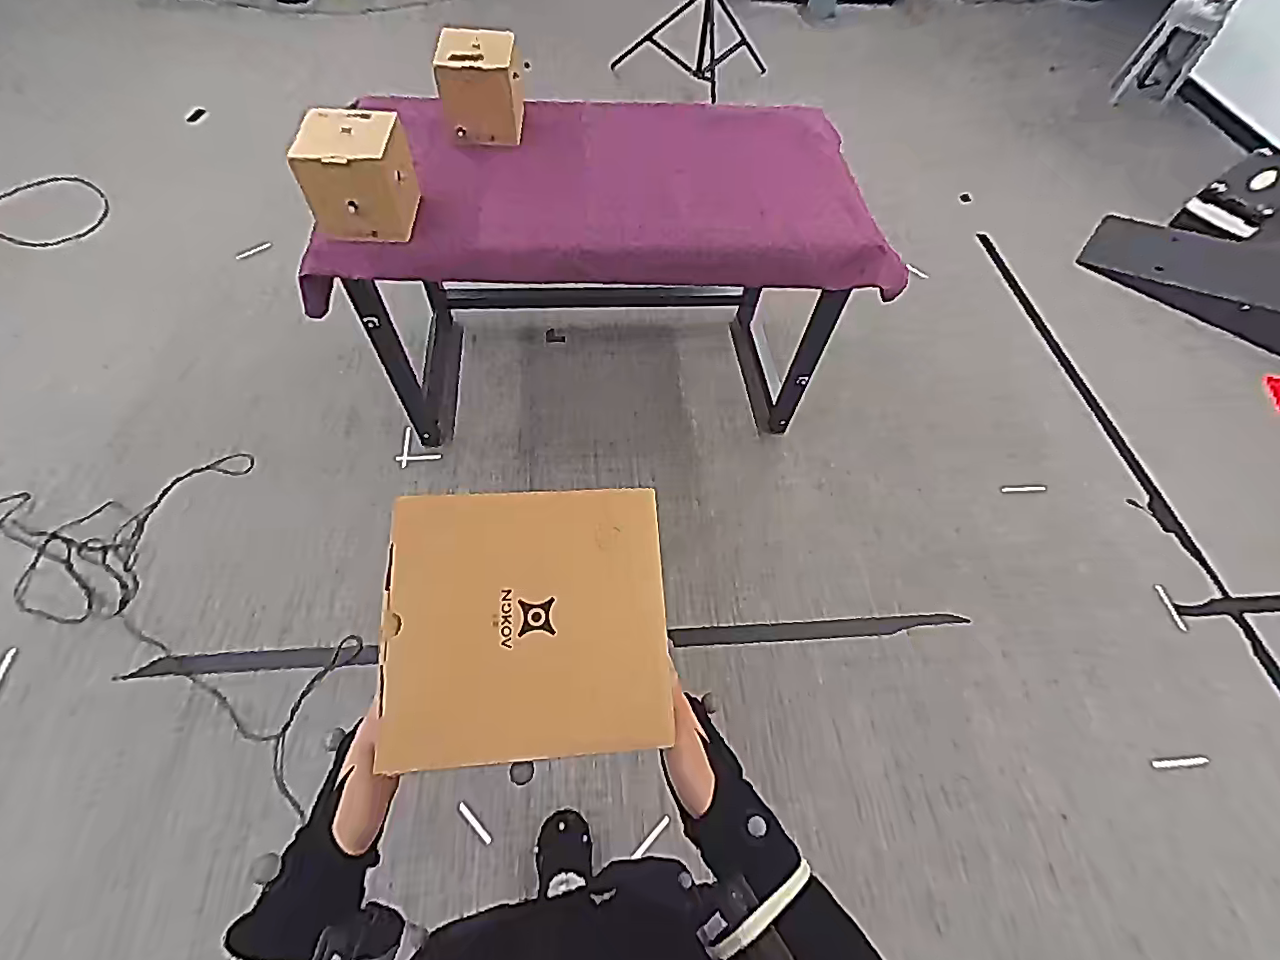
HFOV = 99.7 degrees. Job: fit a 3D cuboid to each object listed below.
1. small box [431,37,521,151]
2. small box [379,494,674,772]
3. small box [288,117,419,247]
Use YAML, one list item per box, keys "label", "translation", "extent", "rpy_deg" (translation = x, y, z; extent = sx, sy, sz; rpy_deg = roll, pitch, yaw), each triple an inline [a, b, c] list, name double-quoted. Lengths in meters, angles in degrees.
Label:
- label: "small box"
  translation: [-0.379, -0.911, 1.283]
  extent: [0.168, 0.176, 0.179]
  rpy_deg: [0, 60, -5]
- label: "small box"
  translation: [-0.078, 0.113, 0.420]
  extent: [0.179, 0.176, 0.168]
  rpy_deg: [-3, 72, -6]
- label: "small box"
  translation: [-0.555, -0.586, 1.075]
  extent: [0.168, 0.176, 0.179]
  rpy_deg: [-1, 59, -5]
